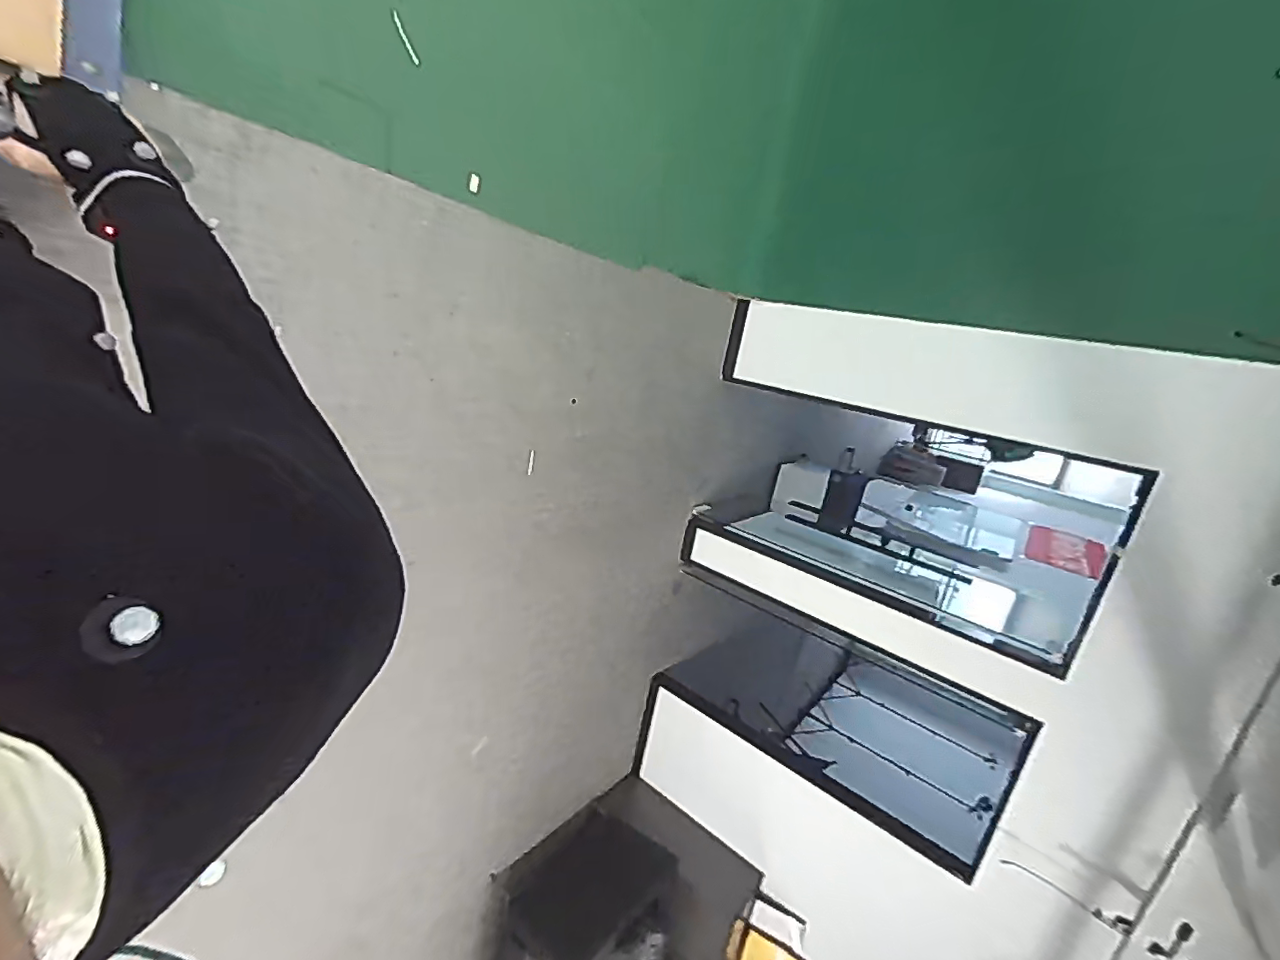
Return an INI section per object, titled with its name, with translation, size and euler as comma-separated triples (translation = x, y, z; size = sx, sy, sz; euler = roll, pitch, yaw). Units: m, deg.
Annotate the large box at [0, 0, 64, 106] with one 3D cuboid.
[large box]
translation = -0.956, -0.763, 0.661
size = 0.320, 0.320, 0.408
euler = -3, 109, -53
